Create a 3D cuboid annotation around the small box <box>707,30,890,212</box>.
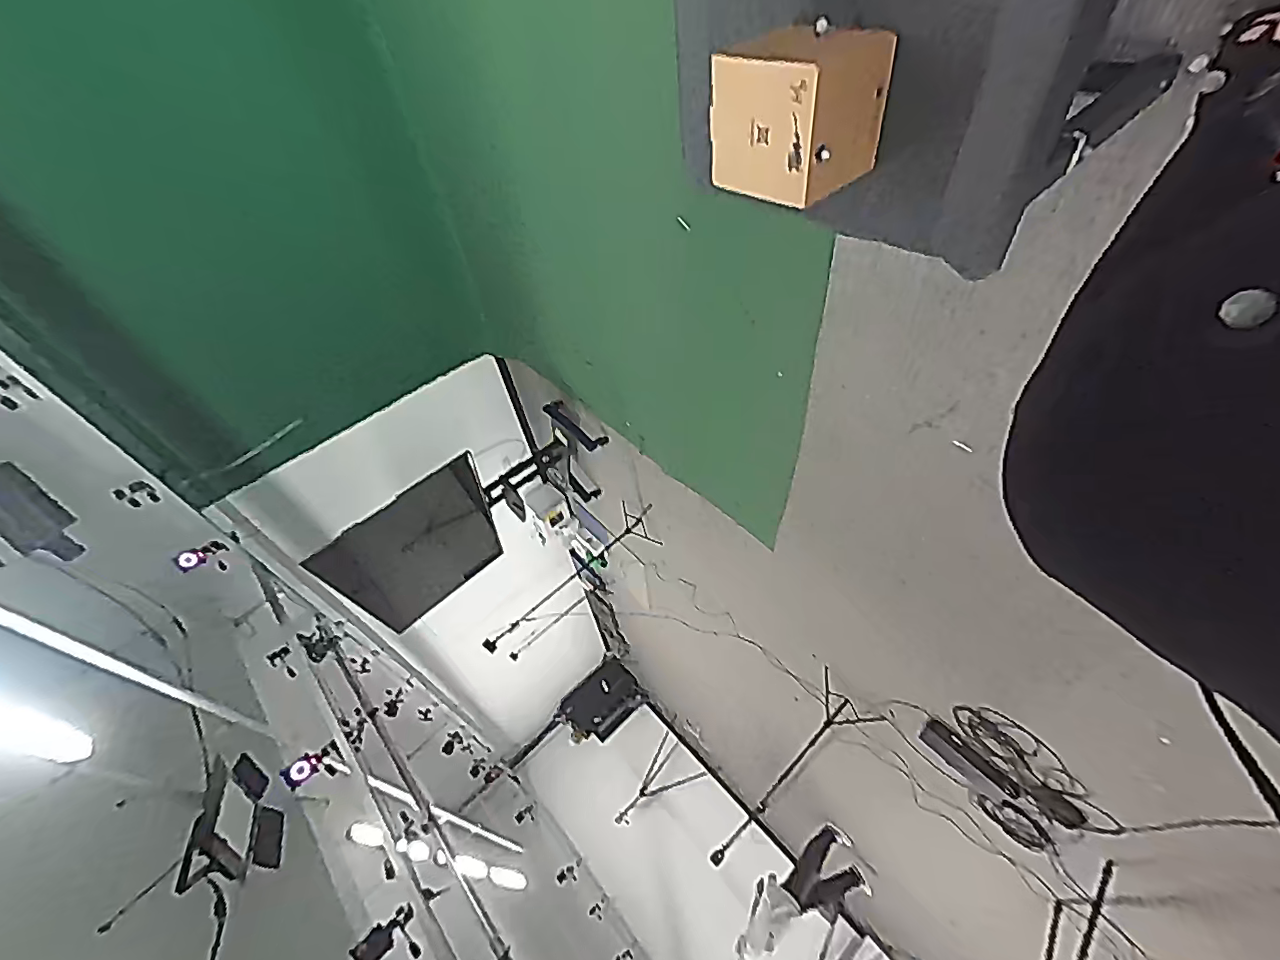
[{"bbox_3d":[0.217,-0.515,0.770,0.179,0.176,0.168,37,155,34],"label":"small box"}]
